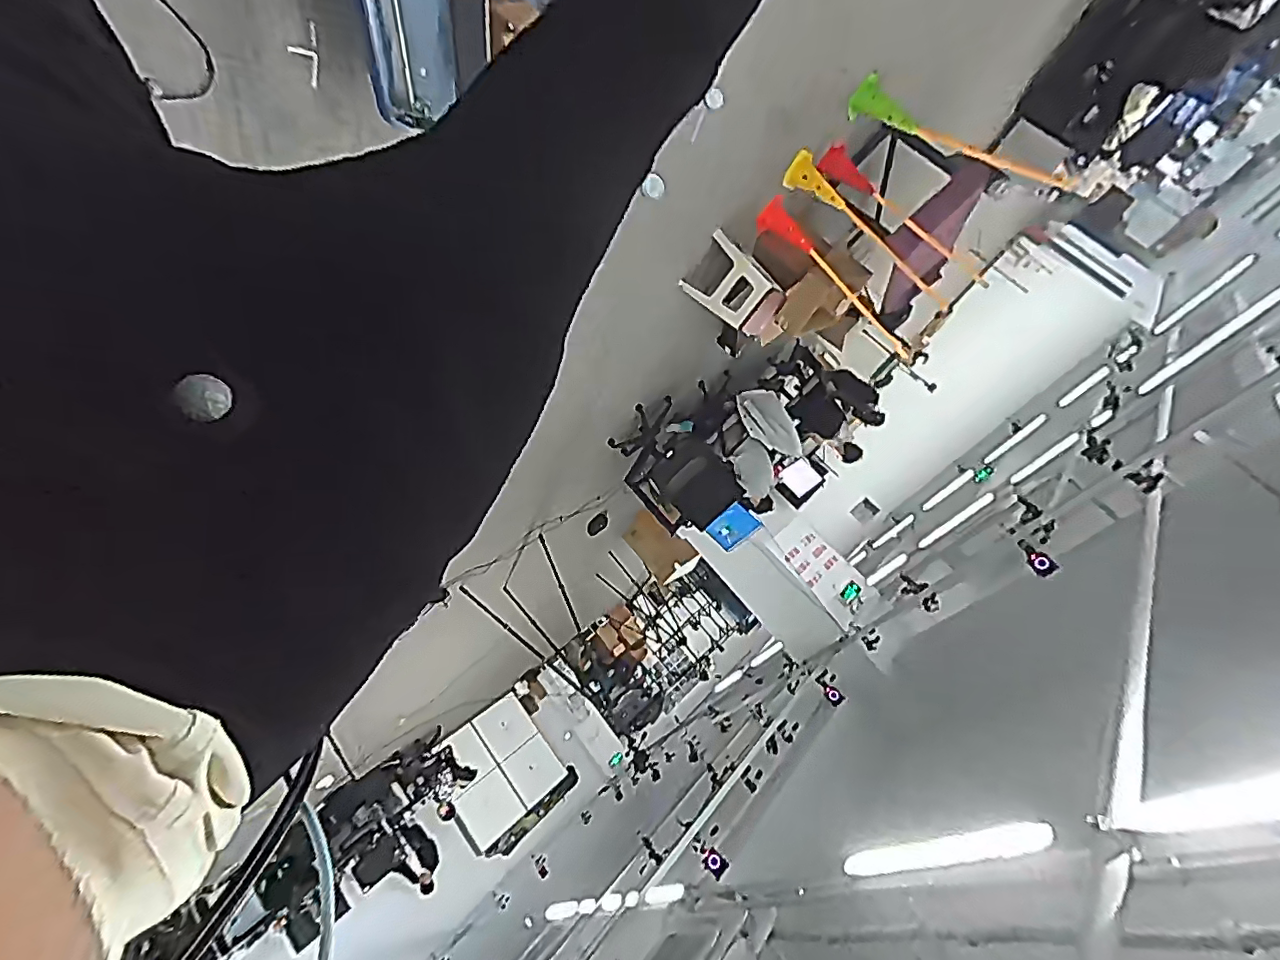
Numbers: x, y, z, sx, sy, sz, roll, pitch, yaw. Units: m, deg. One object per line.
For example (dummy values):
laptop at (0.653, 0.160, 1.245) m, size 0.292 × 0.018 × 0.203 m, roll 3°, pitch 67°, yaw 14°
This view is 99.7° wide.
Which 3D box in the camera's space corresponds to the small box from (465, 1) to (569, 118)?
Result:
small box at (-0.297, -1.012, 1.298) m, size 0.179 × 0.176 × 0.168 m, roll -32°, pitch 161°, yaw -27°
